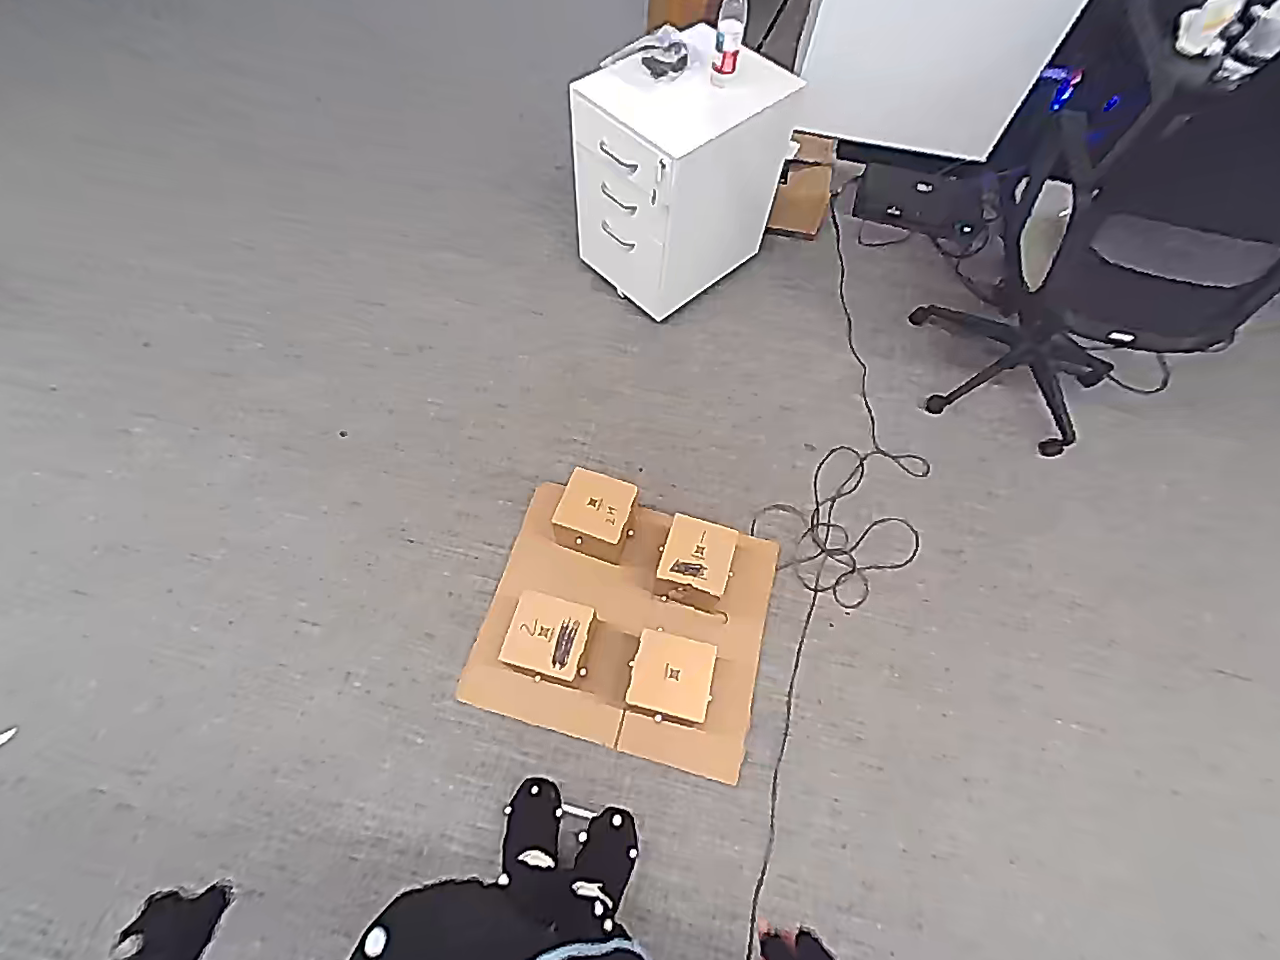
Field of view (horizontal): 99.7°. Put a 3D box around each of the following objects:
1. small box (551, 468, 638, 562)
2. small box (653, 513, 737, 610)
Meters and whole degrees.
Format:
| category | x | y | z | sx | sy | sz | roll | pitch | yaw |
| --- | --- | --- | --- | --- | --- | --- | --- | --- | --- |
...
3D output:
| category | x | y | z | sx | sy | sz | roll | pitch | yaw |
| --- | --- | --- | --- | --- | --- | --- | --- | --- | --- |
| small box | -0.115 | 0.098 | 1.422 | 0.179 | 0.176 | 0.168 | 19 | 65 | 7 |
| small box | 0.136 | 0.214 | 1.379 | 0.168 | 0.176 | 0.179 | 16 | 63 | 7 |
